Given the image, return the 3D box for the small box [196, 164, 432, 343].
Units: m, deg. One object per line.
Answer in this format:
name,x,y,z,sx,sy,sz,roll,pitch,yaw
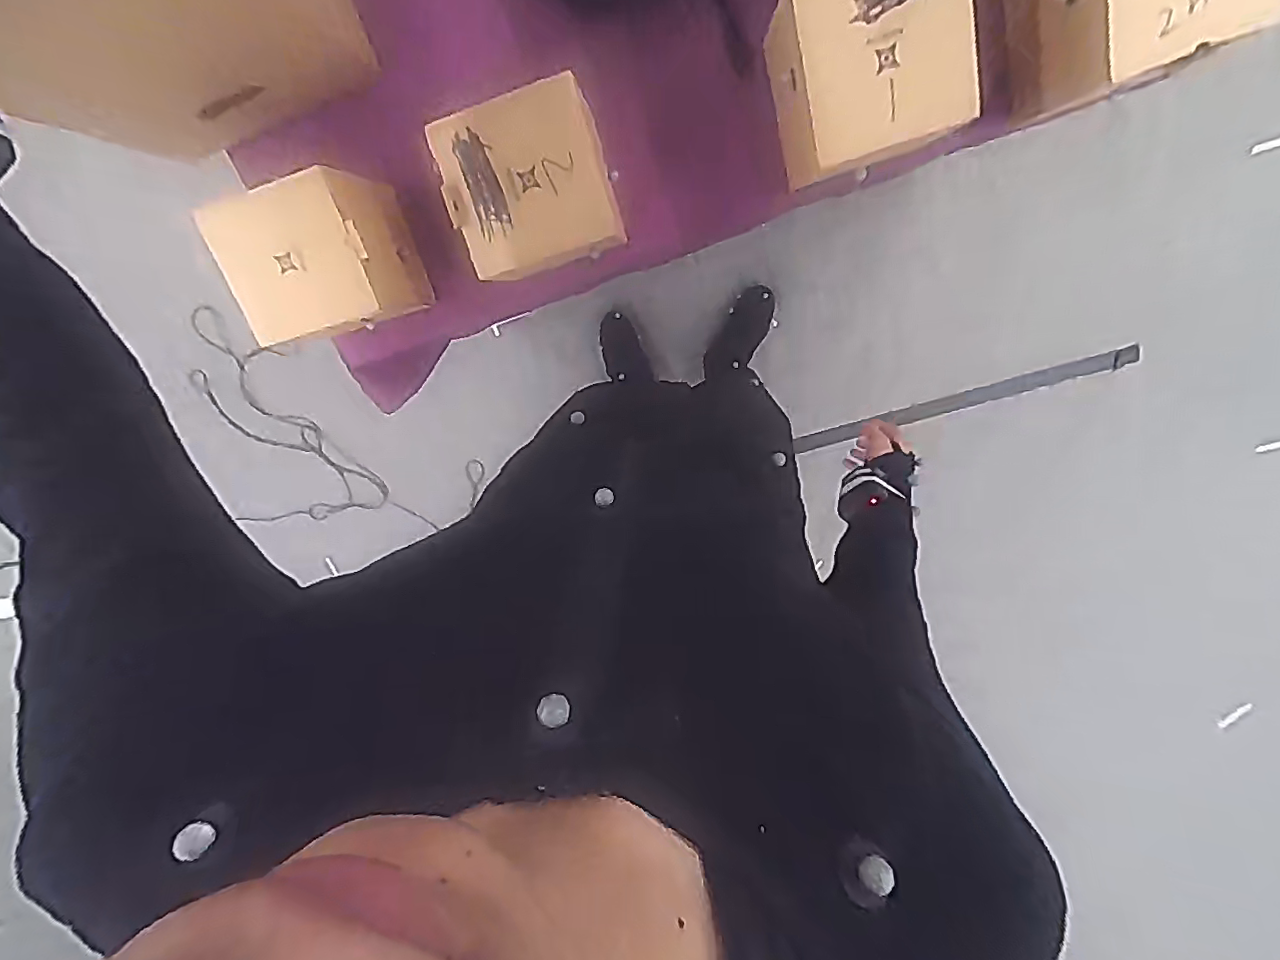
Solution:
small box,-0.415,-0.292,0.722,0.179,0.176,0.168,-15,109,8
